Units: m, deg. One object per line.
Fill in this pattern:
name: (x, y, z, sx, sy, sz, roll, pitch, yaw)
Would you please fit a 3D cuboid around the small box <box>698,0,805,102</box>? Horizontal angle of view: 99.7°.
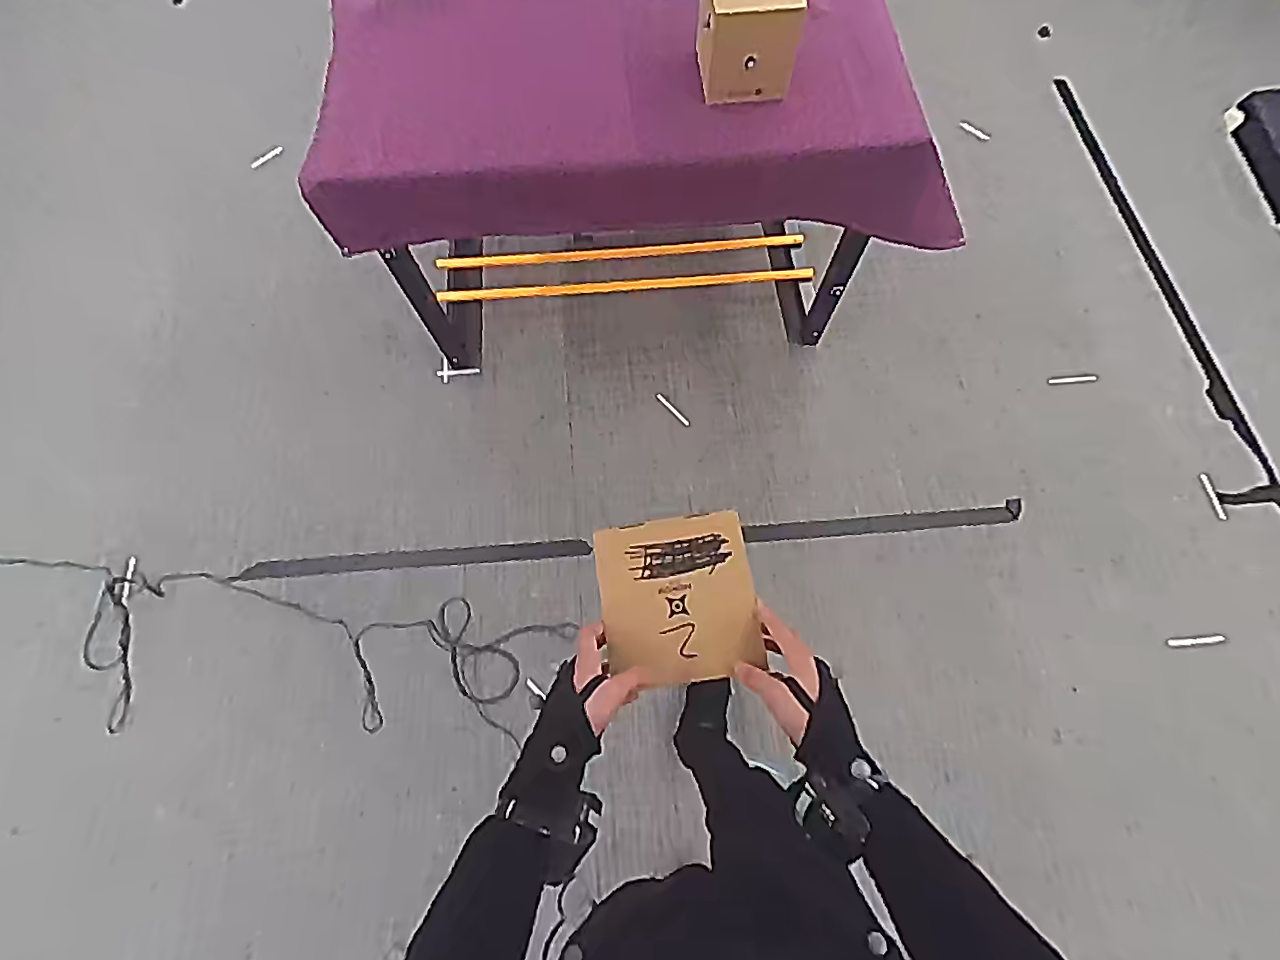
small box: (0.209, -0.874, 1.058, 0.168, 0.176, 0.179, -5, 70, -1)
